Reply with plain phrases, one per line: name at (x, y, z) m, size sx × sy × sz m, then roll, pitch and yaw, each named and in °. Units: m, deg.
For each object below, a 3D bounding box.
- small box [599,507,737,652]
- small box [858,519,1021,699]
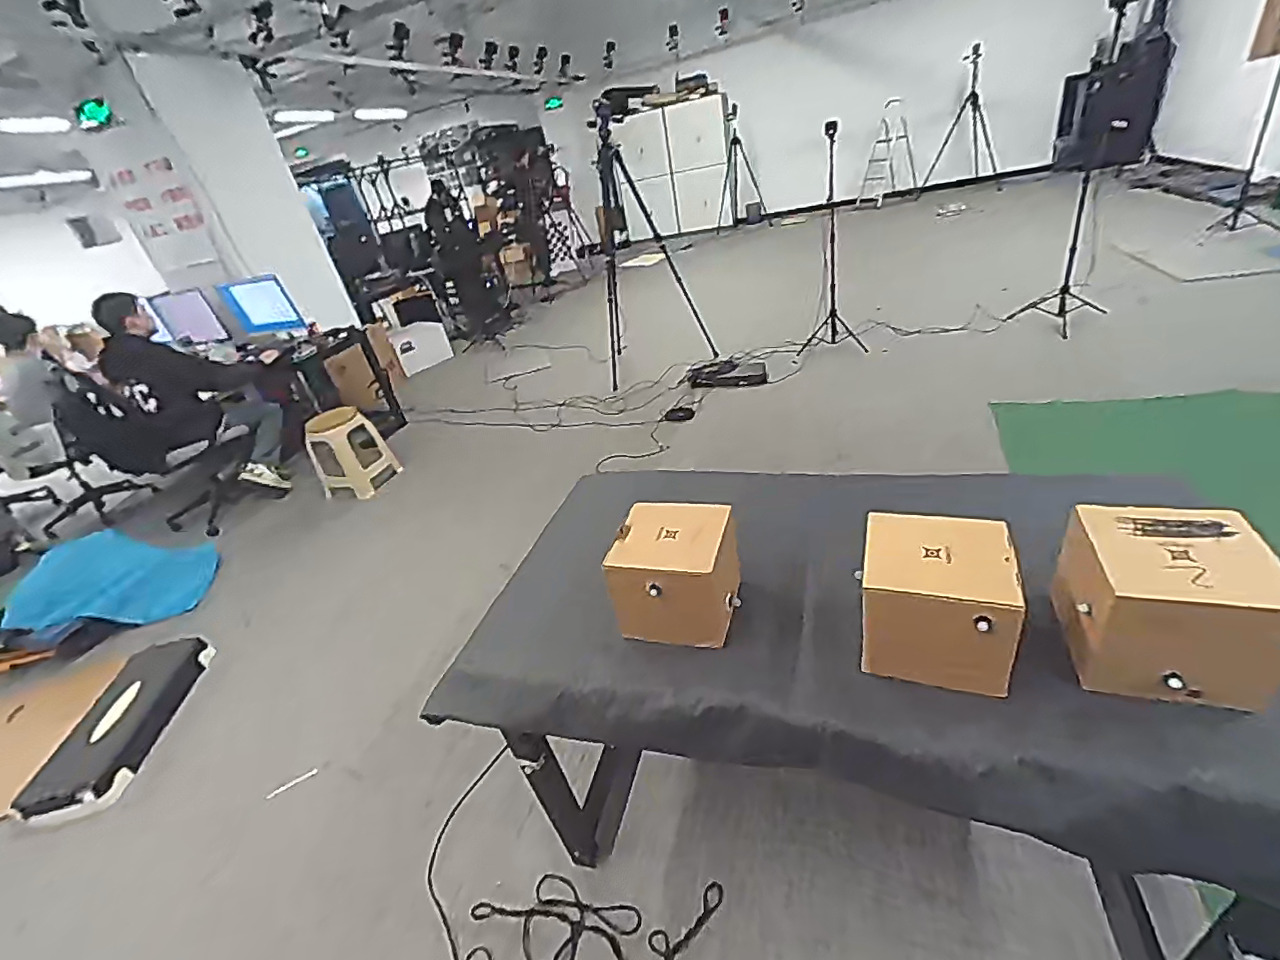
small box at (0.056, 0.162, 0.893) m, size 0.179 × 0.176 × 0.168 m, roll 1°, pitch 34°, yaw 20°
small box at (0.399, 0.173, 0.746) m, size 0.179 × 0.176 × 0.168 m, roll 3°, pitch 33°, yaw 24°
